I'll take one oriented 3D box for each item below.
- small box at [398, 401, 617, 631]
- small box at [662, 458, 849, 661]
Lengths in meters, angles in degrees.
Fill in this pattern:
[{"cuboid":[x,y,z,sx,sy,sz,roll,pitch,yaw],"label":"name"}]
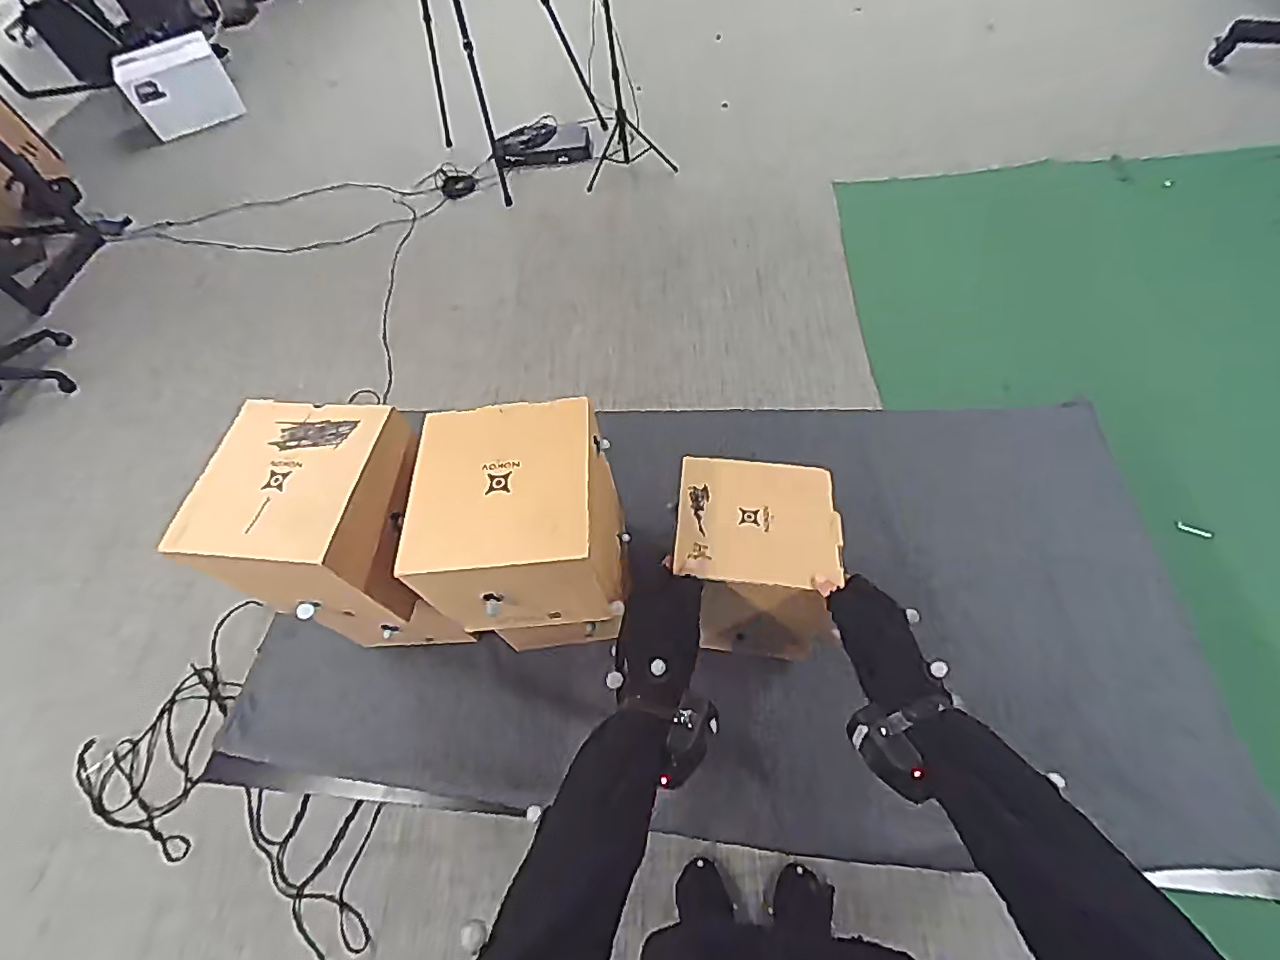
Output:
[{"cuboid":[-0.117,0.046,0.554,0.168,0.176,0.179,-6,56,2],"label":"small box"},{"cuboid":[0.126,0.098,0.644,0.179,0.176,0.168,7,48,3],"label":"small box"}]
